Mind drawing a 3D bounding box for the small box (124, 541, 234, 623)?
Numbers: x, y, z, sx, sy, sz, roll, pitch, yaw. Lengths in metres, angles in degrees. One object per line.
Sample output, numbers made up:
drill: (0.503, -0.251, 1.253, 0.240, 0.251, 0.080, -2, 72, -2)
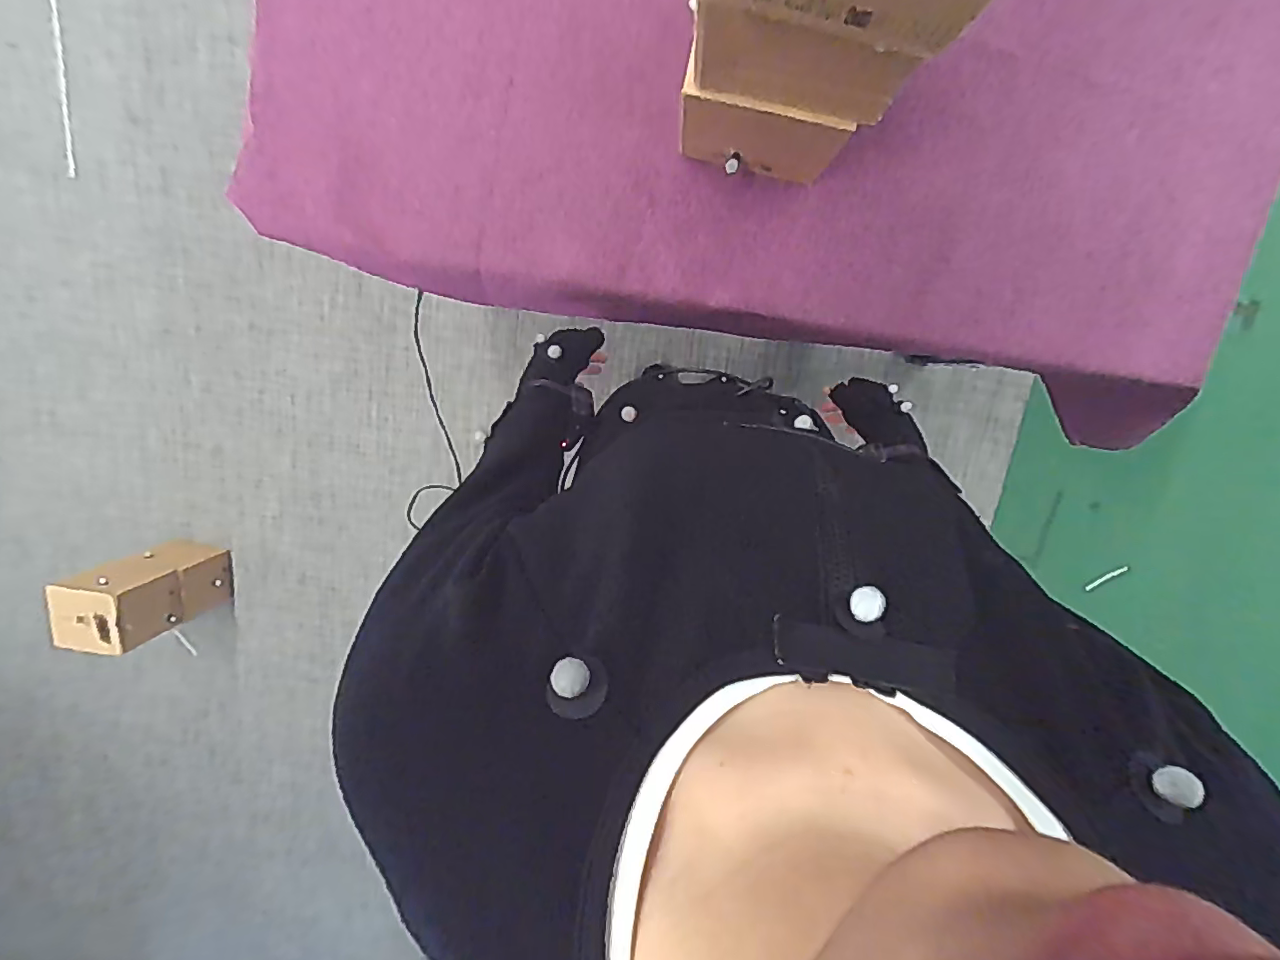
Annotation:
small box: (-1.309, 0.284, 1.544, 0.179, 0.176, 0.168, 8, 104, 1)

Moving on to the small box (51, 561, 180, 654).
small box: (-1.325, 0.319, 1.384, 0.179, 0.176, 0.168, 8, 103, 2)

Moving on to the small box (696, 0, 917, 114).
small box: (0.142, -0.401, 0.392, 0.179, 0.176, 0.168, 12, 103, 1)

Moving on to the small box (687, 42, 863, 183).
small box: (0.144, -0.436, 0.550, 0.168, 0.176, 0.179, 14, 104, 1)
